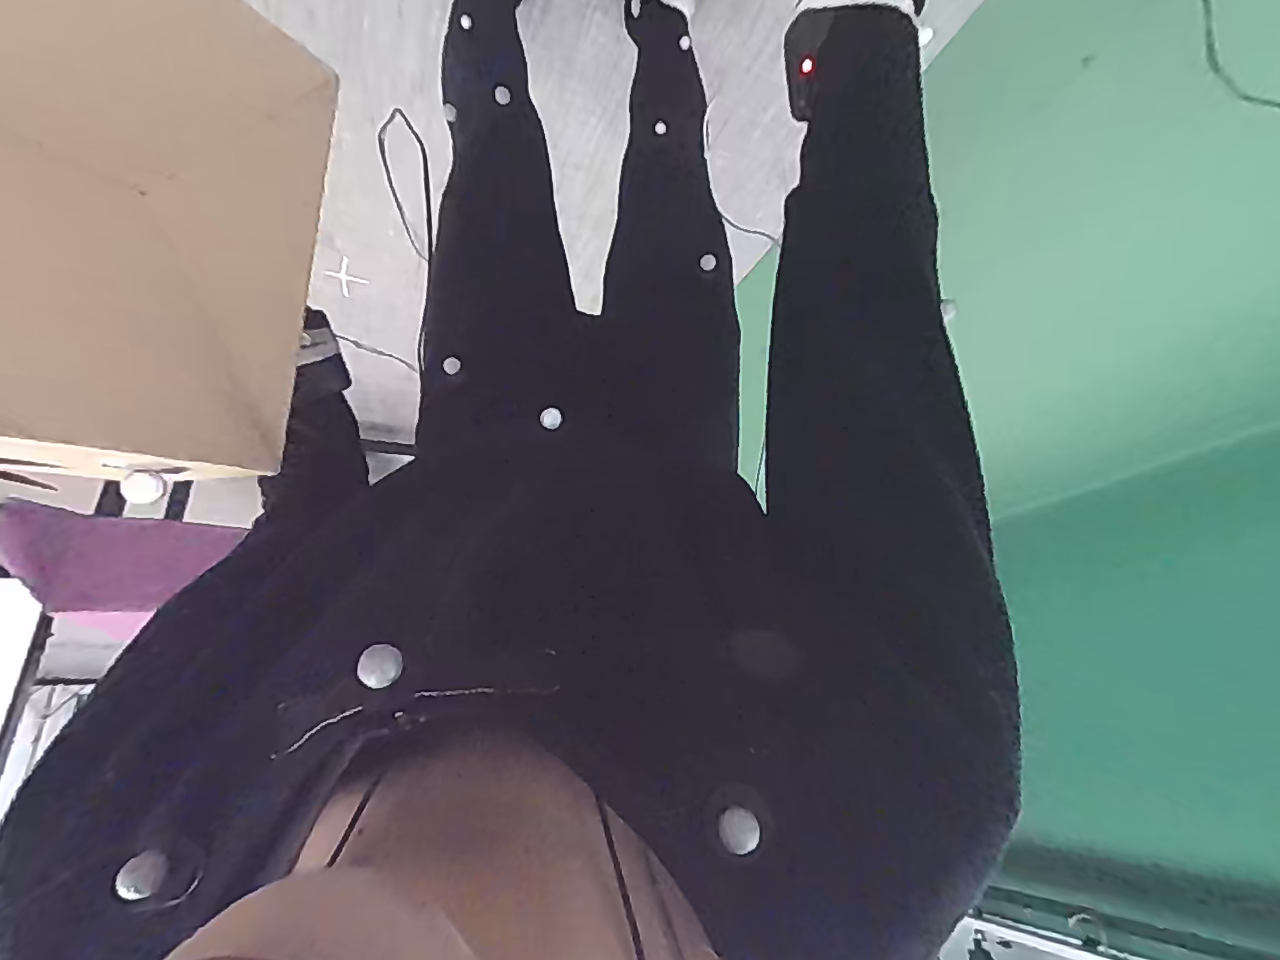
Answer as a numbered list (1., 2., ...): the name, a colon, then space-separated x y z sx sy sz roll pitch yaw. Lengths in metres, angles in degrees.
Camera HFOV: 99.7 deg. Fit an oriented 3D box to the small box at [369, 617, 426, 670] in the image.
1. small box: -0.912 0.616 2.034 0.179 0.176 0.168 6 155 -23
